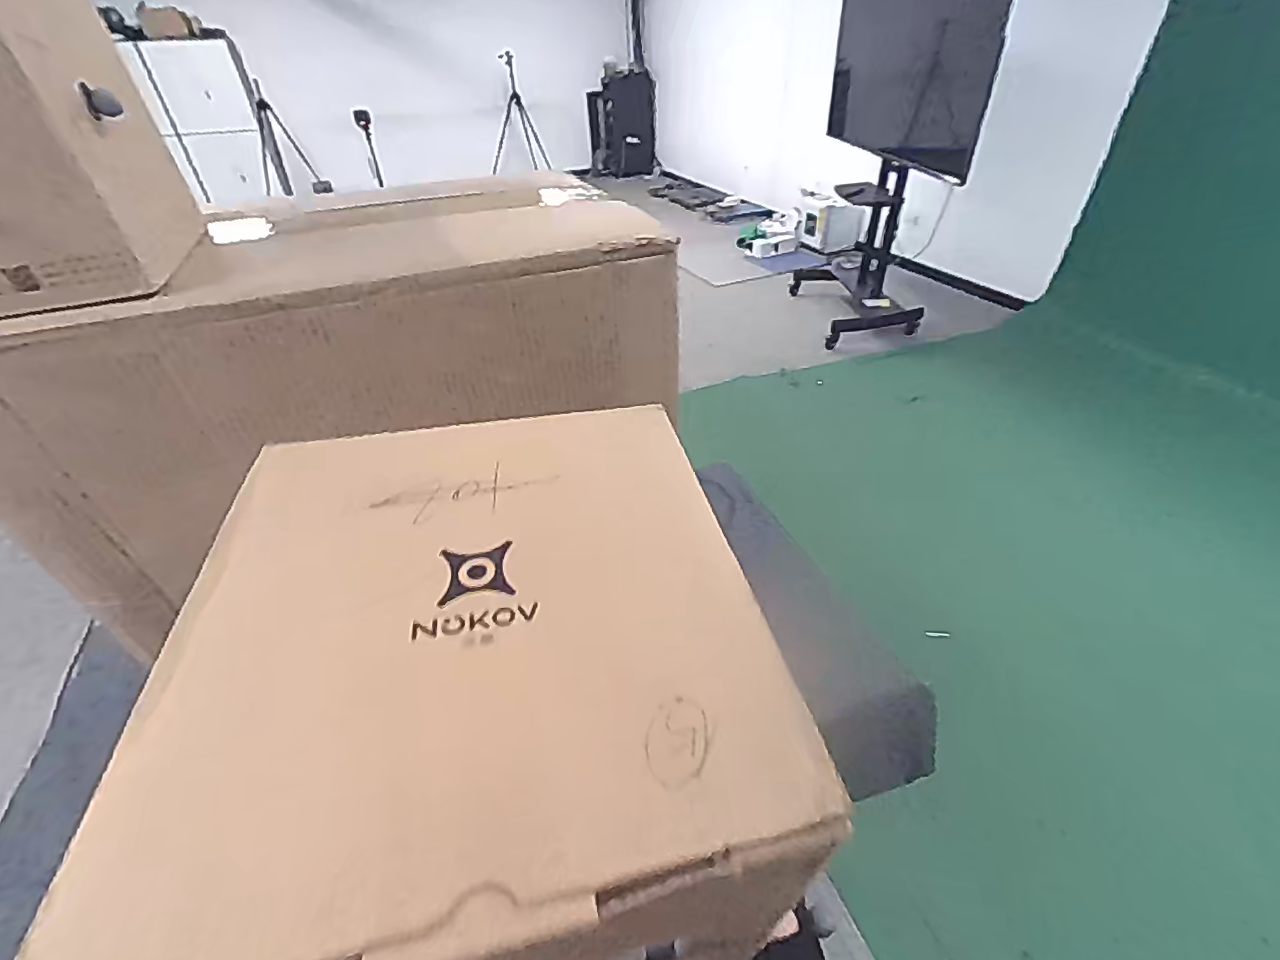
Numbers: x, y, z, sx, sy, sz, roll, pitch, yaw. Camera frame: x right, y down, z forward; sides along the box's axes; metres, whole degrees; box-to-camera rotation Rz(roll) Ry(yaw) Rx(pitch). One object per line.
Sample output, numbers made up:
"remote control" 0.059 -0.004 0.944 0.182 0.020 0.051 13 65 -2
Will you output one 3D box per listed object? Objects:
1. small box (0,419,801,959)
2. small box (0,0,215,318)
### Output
"small box" -0.060 0.099 0.220 0.168 0.176 0.179 -7 40 -12
"small box" -0.419 -0.212 0.348 0.168 0.176 0.179 -15 42 -15
